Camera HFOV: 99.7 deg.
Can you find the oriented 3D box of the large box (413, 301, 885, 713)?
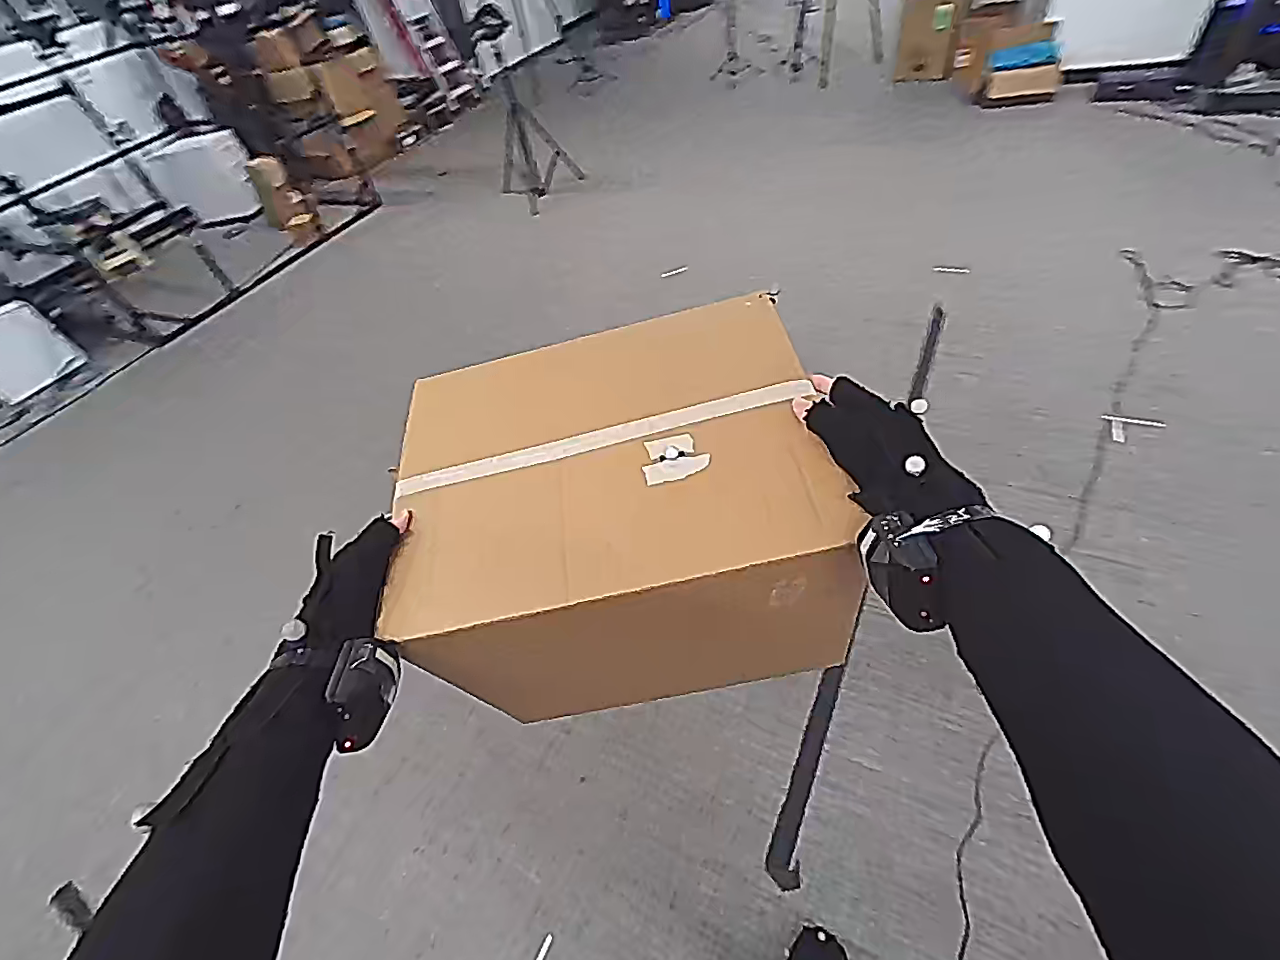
[{"bbox_3d":[0.010,0.050,0.642,0.408,0.320,0.320,-12,54,5],"label":"large box"}]
